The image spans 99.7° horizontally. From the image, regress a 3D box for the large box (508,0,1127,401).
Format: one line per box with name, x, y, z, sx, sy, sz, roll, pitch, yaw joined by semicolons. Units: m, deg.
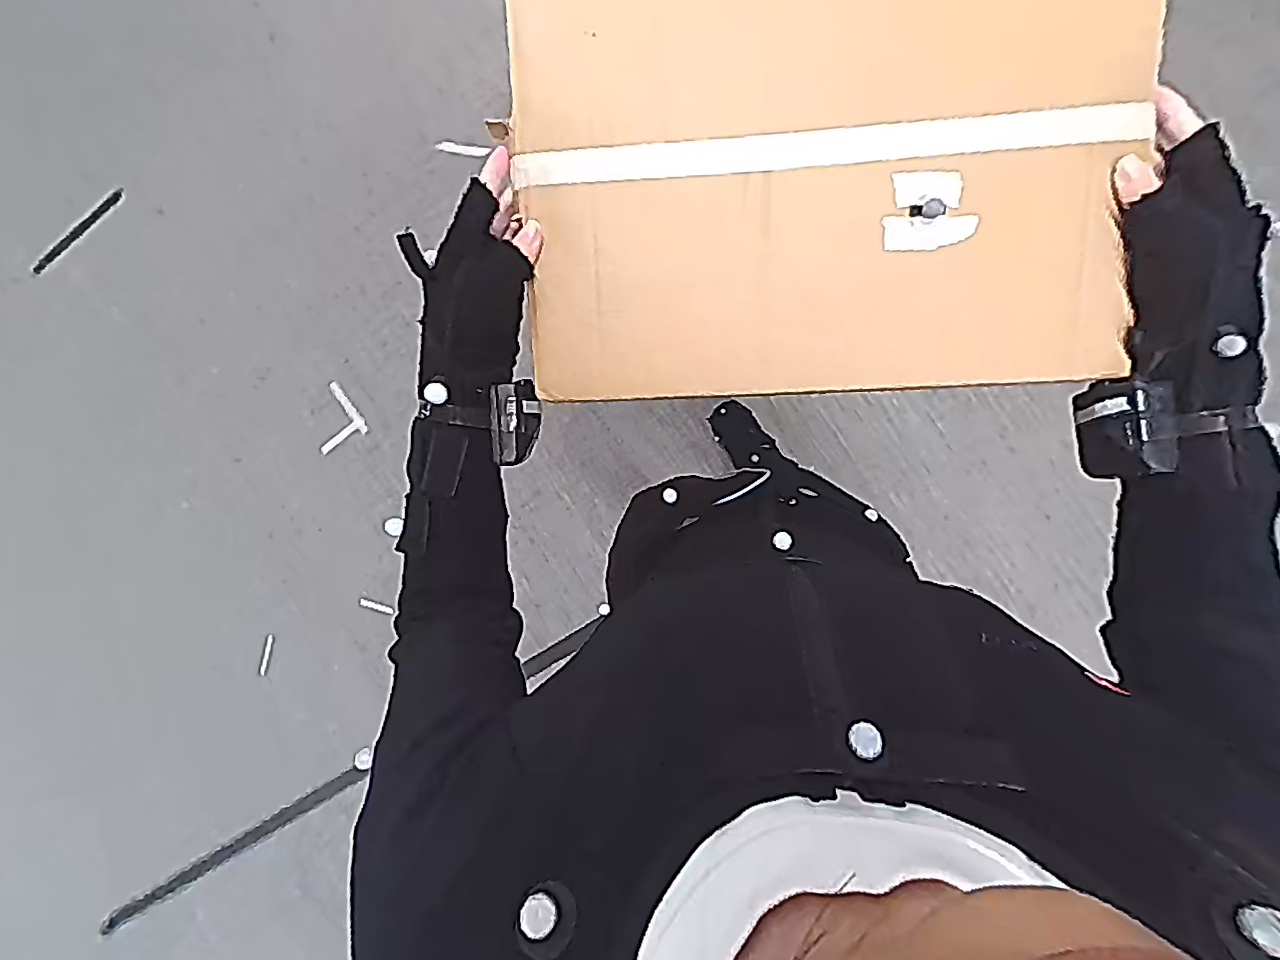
large box;0.123;-0.247;0.516;0.408;0.320;0.320;-3;100;3
